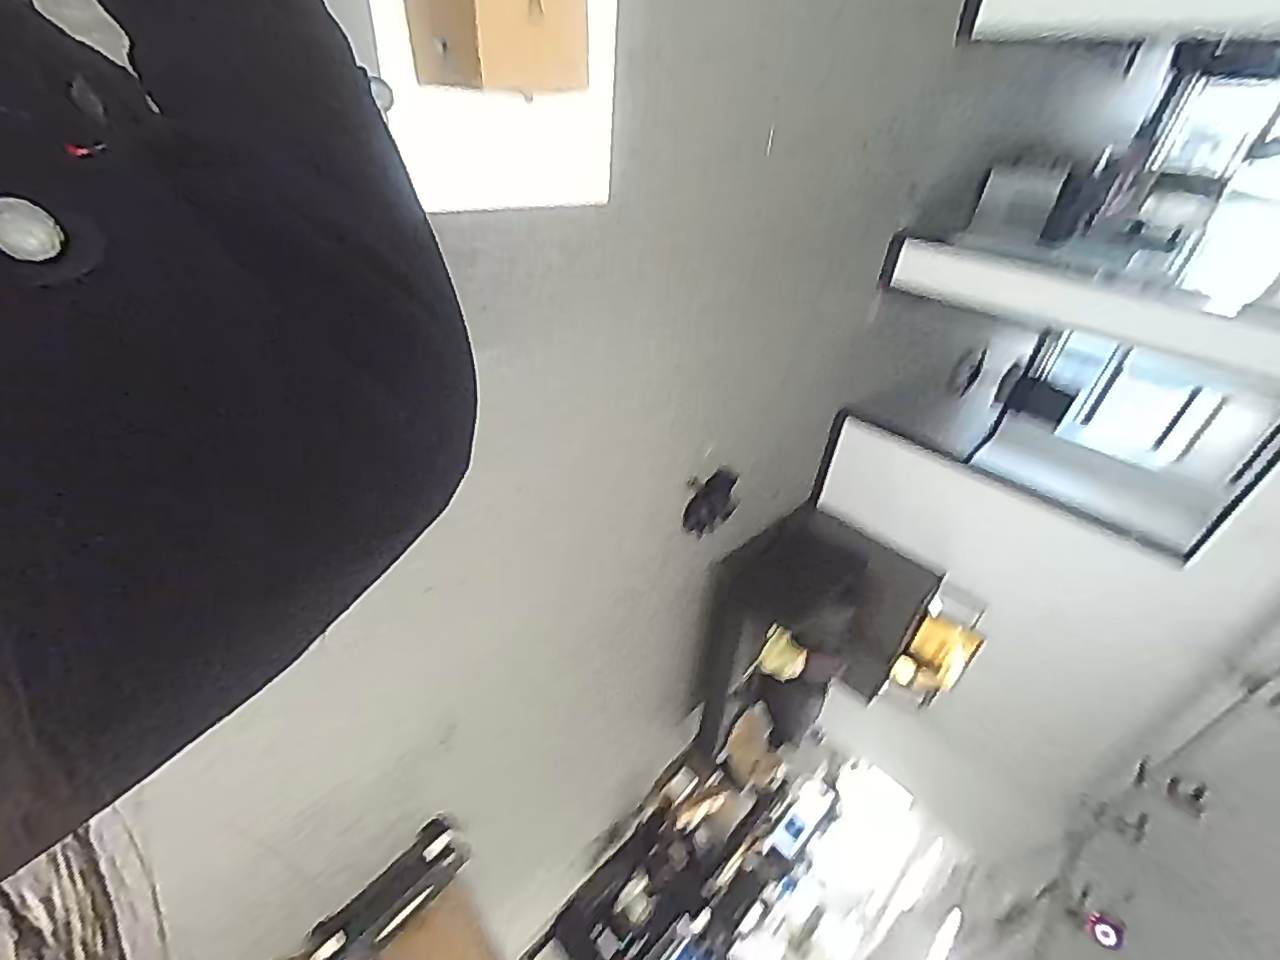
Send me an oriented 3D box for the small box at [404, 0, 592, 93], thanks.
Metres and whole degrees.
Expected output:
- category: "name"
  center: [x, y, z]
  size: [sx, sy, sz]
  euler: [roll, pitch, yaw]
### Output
- category: "small box"
  center: [-0.175, -0.585, 0.660]
  size: [0.168, 0.176, 0.179]
  euler: [-30, 137, -34]
